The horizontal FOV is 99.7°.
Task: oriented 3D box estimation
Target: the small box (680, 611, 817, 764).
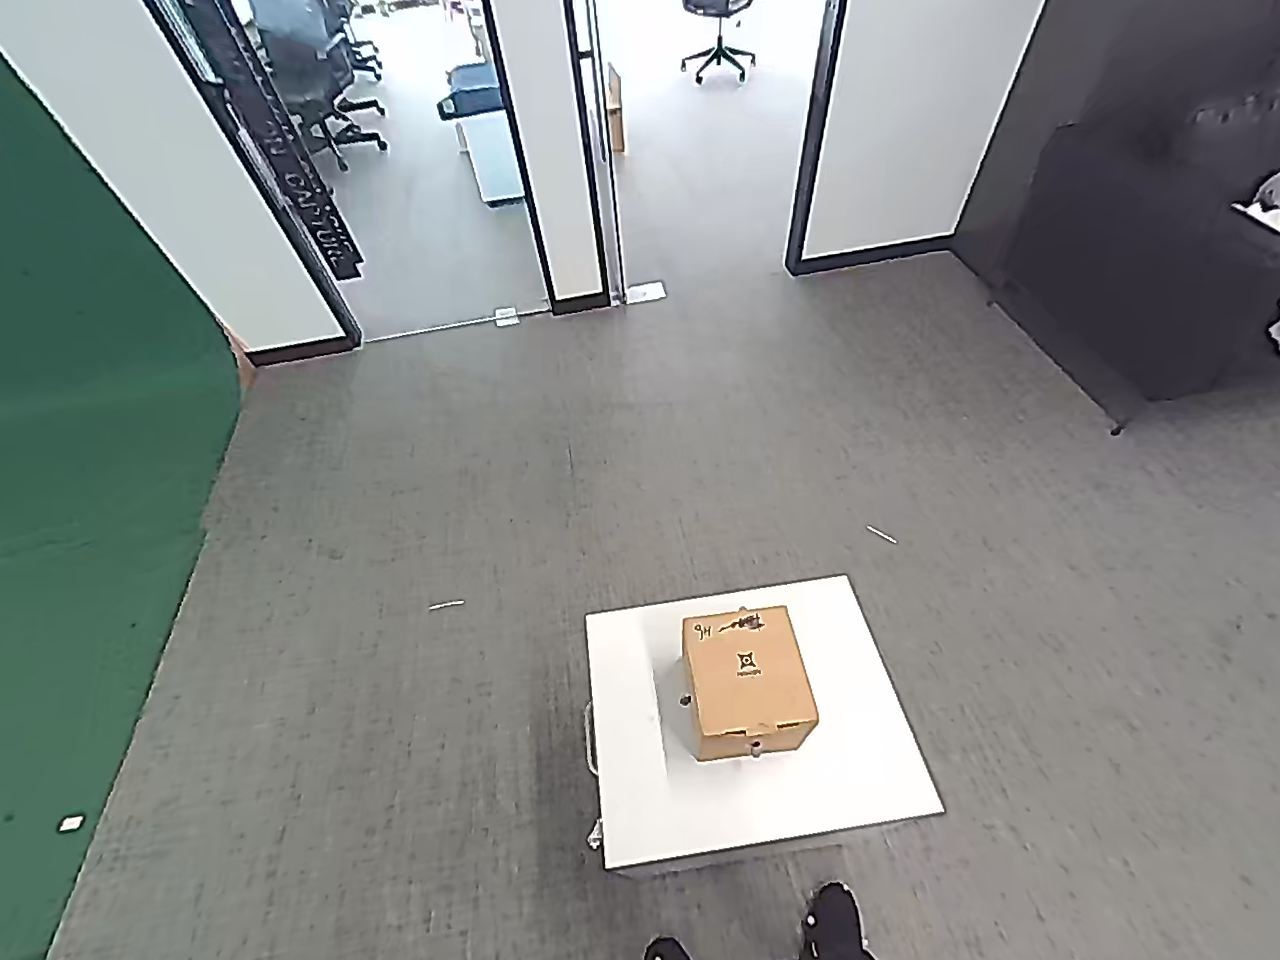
[{"bbox_3d":[0.161,0.332,0.851,0.168,0.176,0.179,-9,51,-2],"label":"small box"}]
